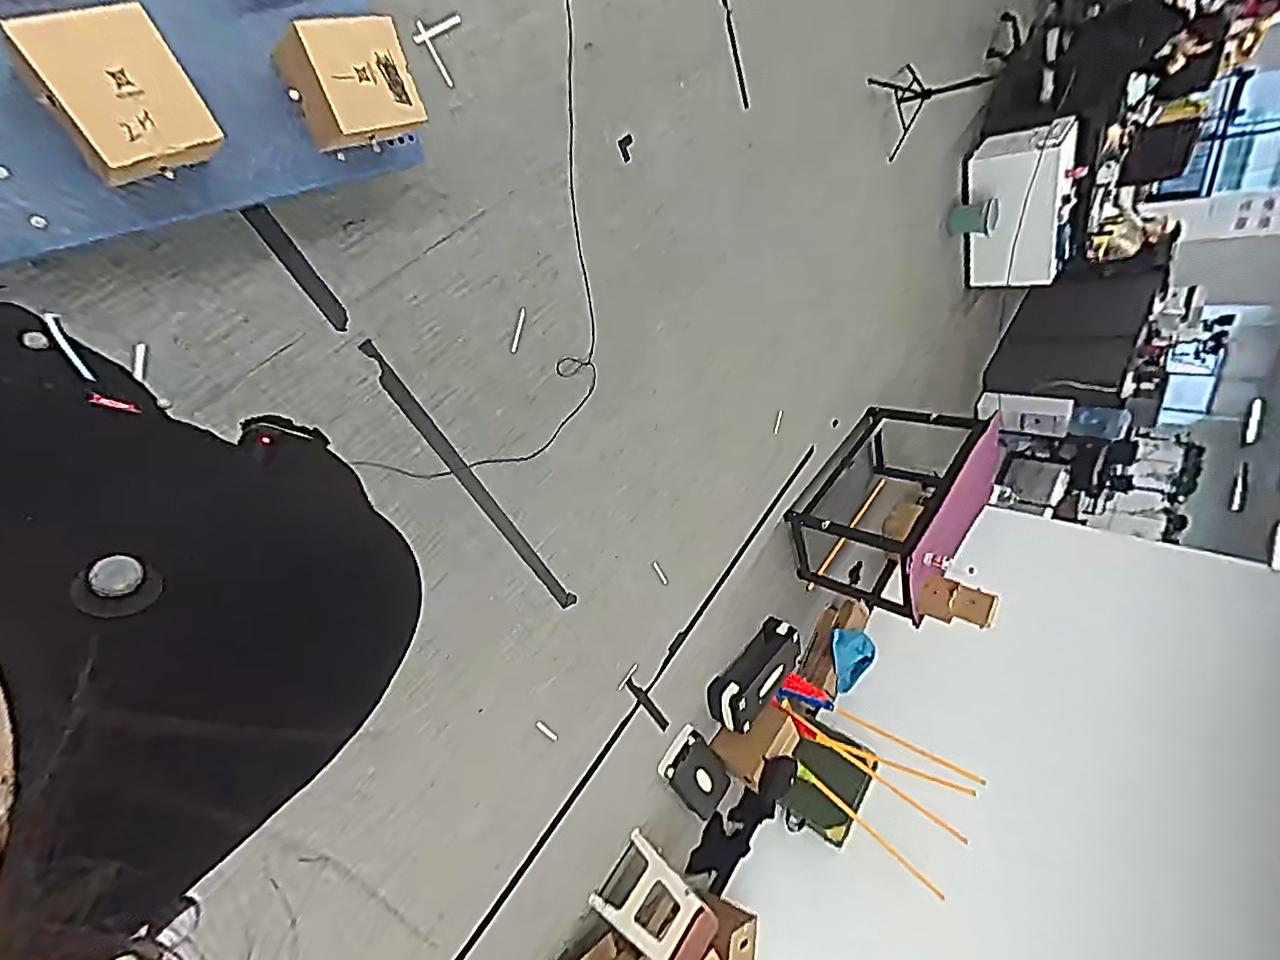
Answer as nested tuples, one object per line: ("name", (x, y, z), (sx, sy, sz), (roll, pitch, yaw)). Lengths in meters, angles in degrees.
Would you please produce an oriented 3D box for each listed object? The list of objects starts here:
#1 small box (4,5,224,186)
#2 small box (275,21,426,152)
("small box", (-0.796, -0.578, 0.829), (0.168, 0.176, 0.179), (-42, 129, -29))
("small box", (-0.551, -0.745, 1.032), (0.179, 0.176, 0.168), (-36, 126, -32))
